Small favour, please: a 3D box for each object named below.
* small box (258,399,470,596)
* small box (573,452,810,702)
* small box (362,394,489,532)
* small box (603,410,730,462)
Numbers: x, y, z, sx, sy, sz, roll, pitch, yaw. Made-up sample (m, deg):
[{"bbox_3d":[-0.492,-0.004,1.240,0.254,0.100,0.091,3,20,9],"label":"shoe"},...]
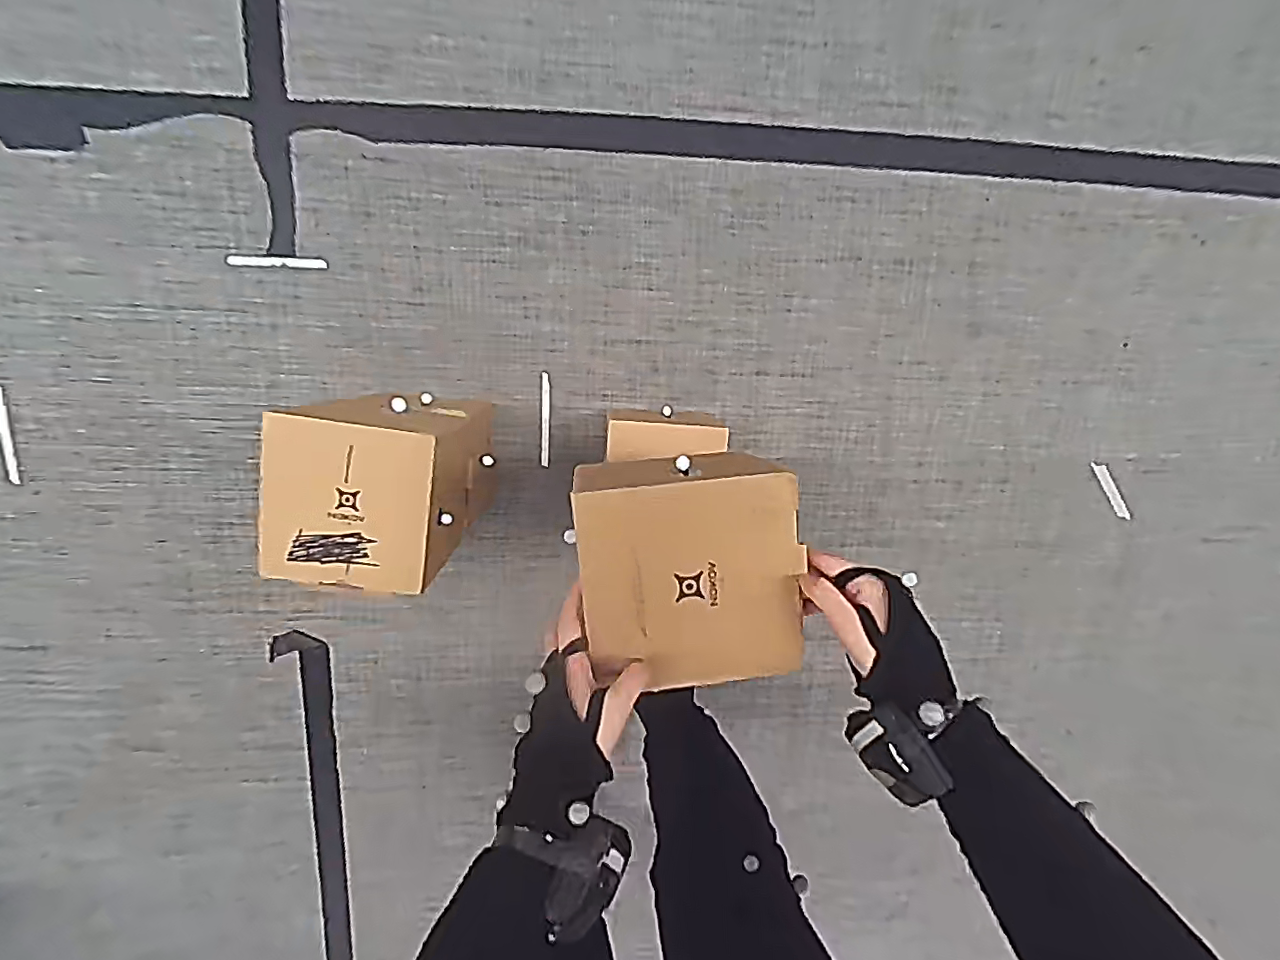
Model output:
[{"bbox_3d":[-0.301,0.010,0.621,0.168,0.176,0.179,8,101,-7],"label":"small box"},{"bbox_3d":[0.033,0.069,0.482,0.179,0.176,0.168,-5,99,-5],"label":"small box"},{"bbox_3d":[-0.319,-0.032,0.780,0.179,0.176,0.168,4,102,-7],"label":"small box"},{"bbox_3d":[0.027,-0.009,0.813,0.168,0.176,0.179,4,102,-5],"label":"small box"}]
